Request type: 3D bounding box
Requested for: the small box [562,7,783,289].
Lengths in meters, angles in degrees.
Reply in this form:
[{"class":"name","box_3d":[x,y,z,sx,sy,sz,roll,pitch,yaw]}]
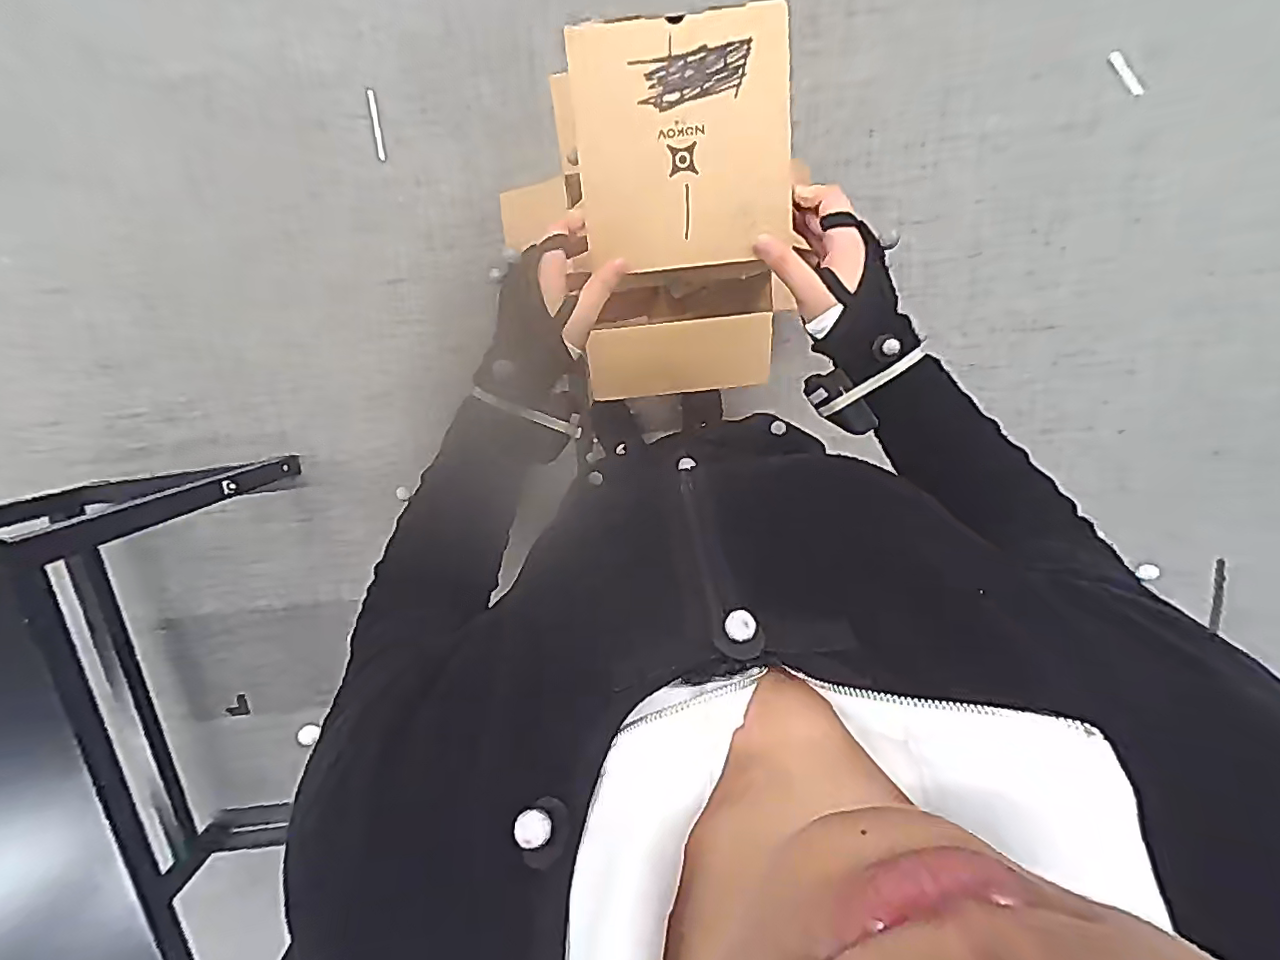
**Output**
[{"class":"small box","box_3d":[0.029,-0.279,0.497,0.168,0.176,0.179,-5,107,3]}]
